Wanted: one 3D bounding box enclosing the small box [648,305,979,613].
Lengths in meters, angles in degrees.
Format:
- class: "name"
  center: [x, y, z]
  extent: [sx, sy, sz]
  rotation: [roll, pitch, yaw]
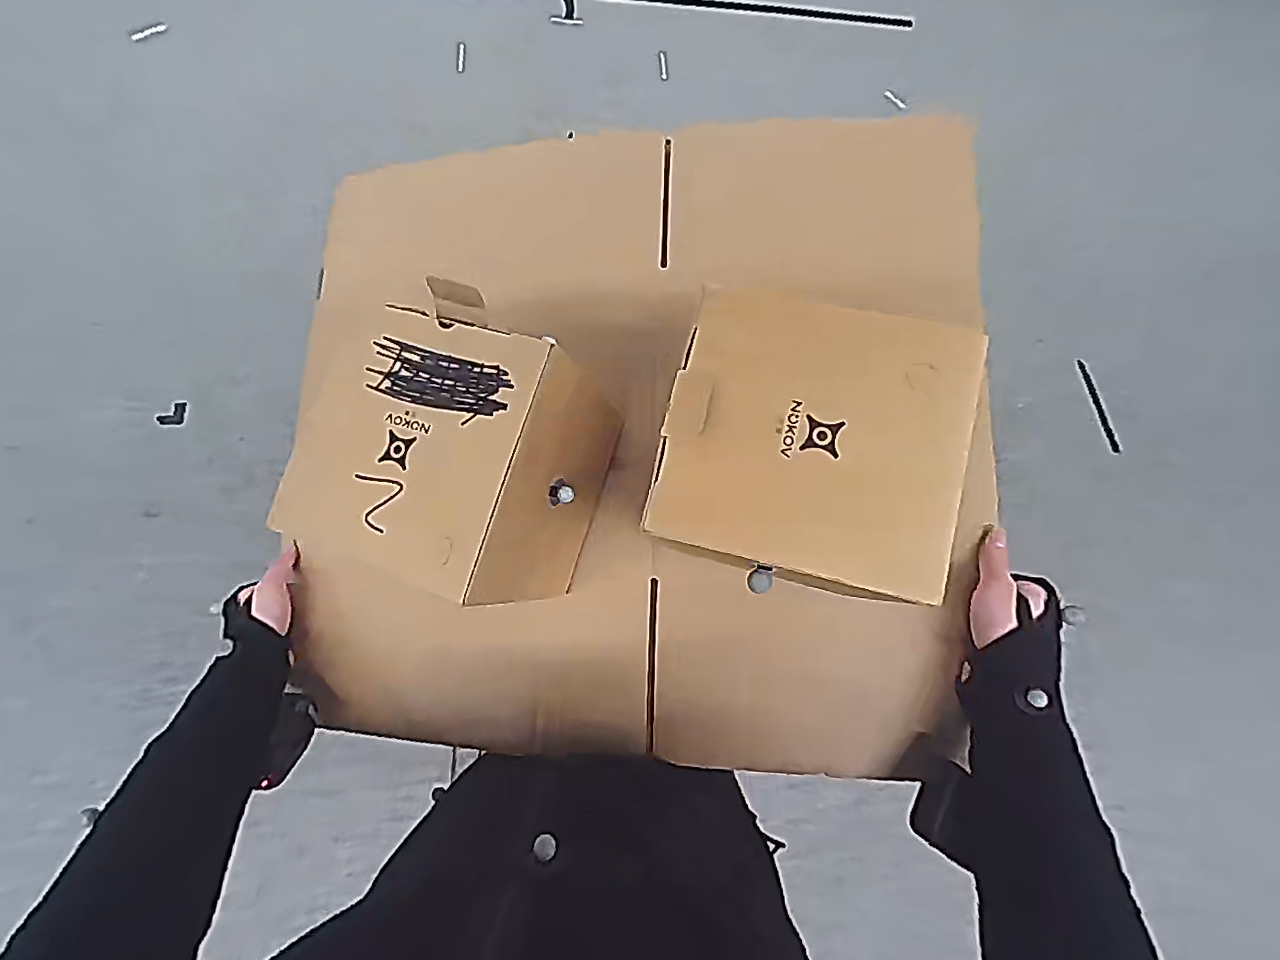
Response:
- class: "small box"
  center: [0.116, -0.007, 0.415]
  extent: [0.179, 0.176, 0.168]
  rotation: [13, 82, 9]
